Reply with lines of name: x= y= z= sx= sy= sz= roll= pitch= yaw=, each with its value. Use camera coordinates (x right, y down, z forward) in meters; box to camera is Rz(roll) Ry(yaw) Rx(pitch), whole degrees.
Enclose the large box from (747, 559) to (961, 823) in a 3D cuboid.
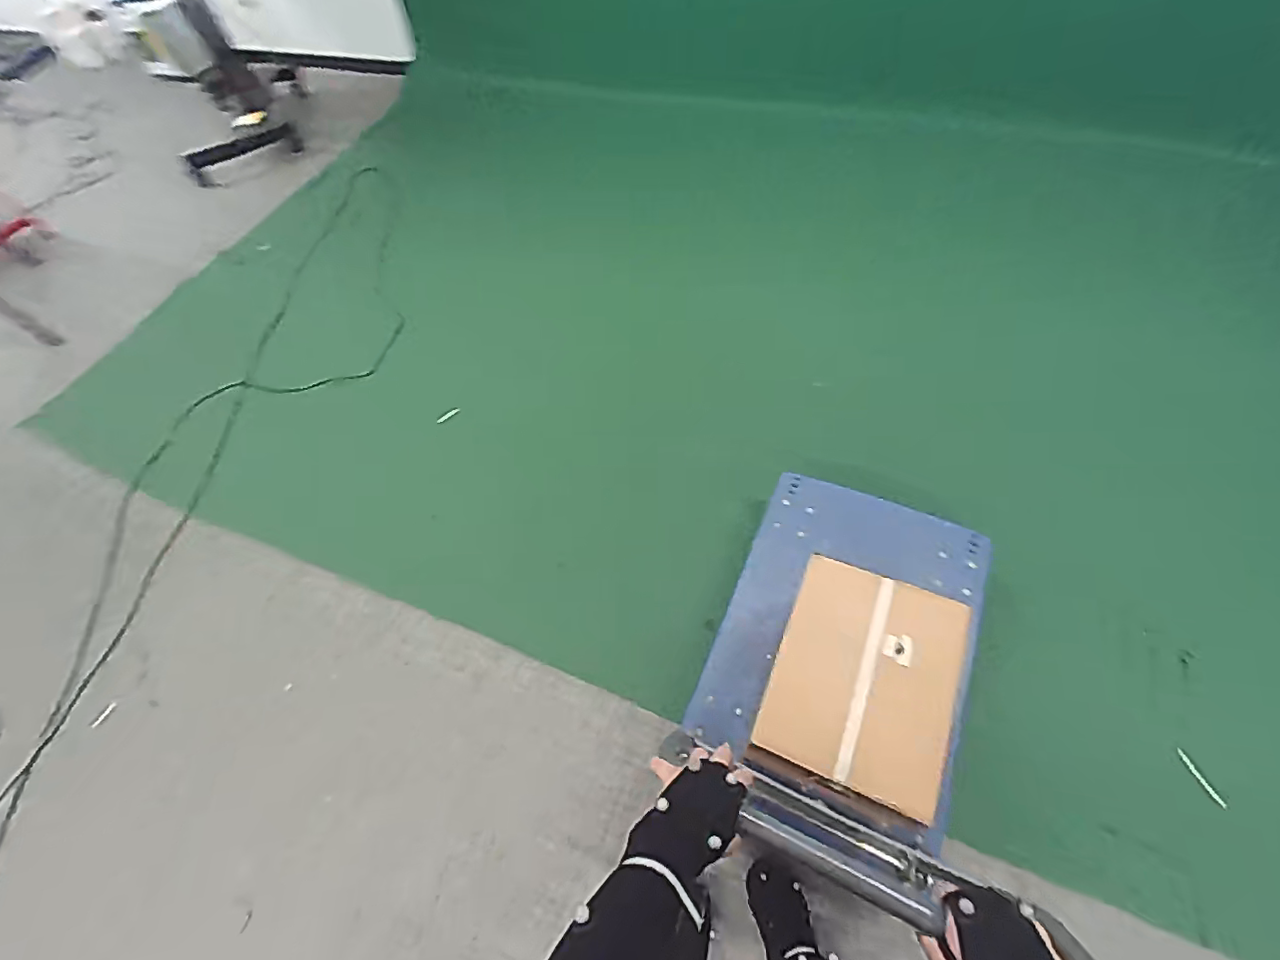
large box: x=0.438 y=0.450 z=1.154 sx=0.320 sy=0.320 sz=0.408 roll=19 pitch=62 yaw=18
